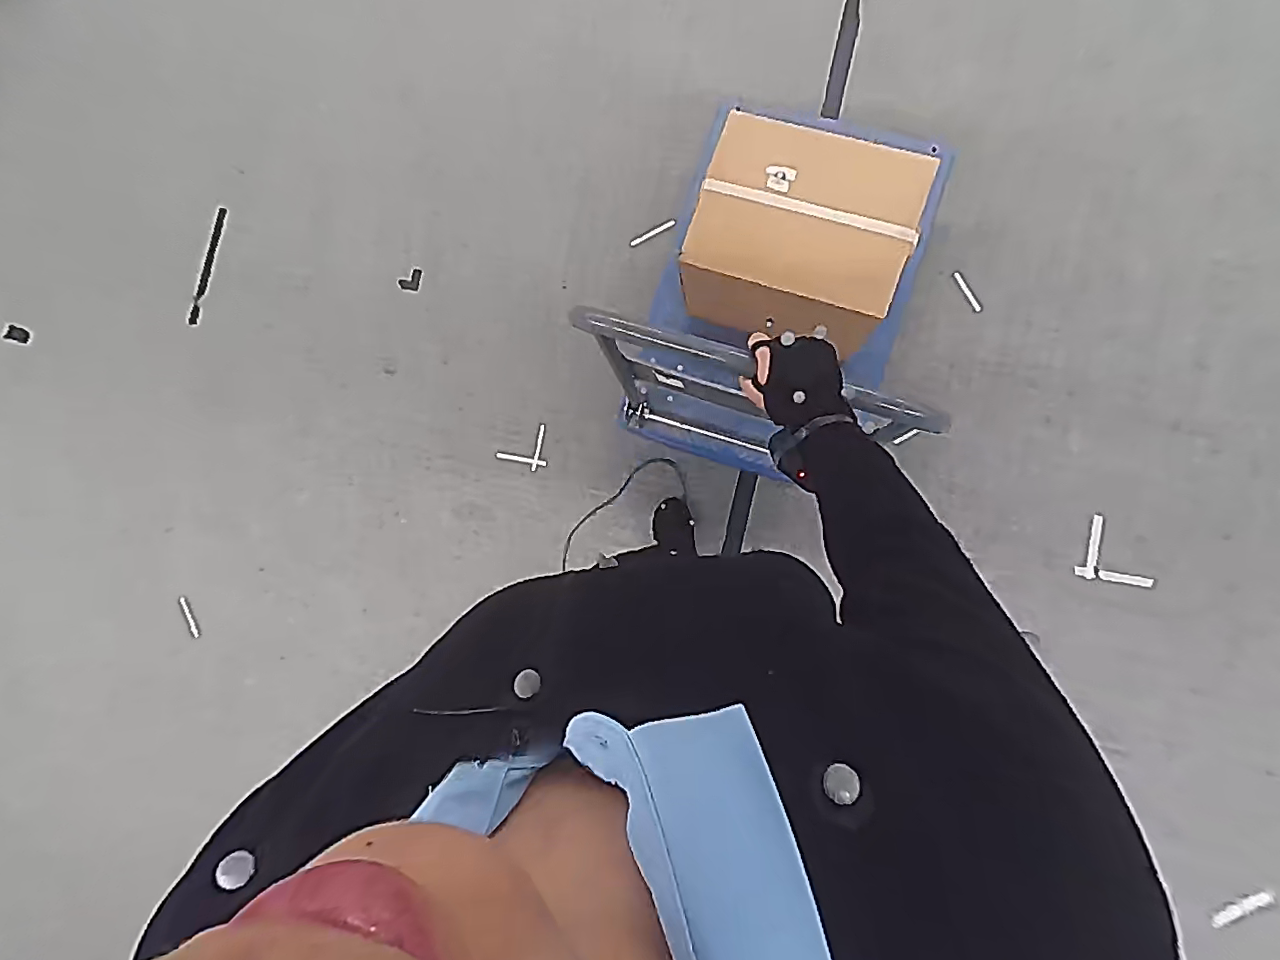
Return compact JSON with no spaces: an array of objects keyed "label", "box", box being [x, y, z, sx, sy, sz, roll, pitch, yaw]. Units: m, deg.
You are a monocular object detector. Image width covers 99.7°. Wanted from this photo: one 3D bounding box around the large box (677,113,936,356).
[{"label":"large box","box":[0.328,-0.496,1.152,0.408,0.320,0.320,19,89,10]}]
